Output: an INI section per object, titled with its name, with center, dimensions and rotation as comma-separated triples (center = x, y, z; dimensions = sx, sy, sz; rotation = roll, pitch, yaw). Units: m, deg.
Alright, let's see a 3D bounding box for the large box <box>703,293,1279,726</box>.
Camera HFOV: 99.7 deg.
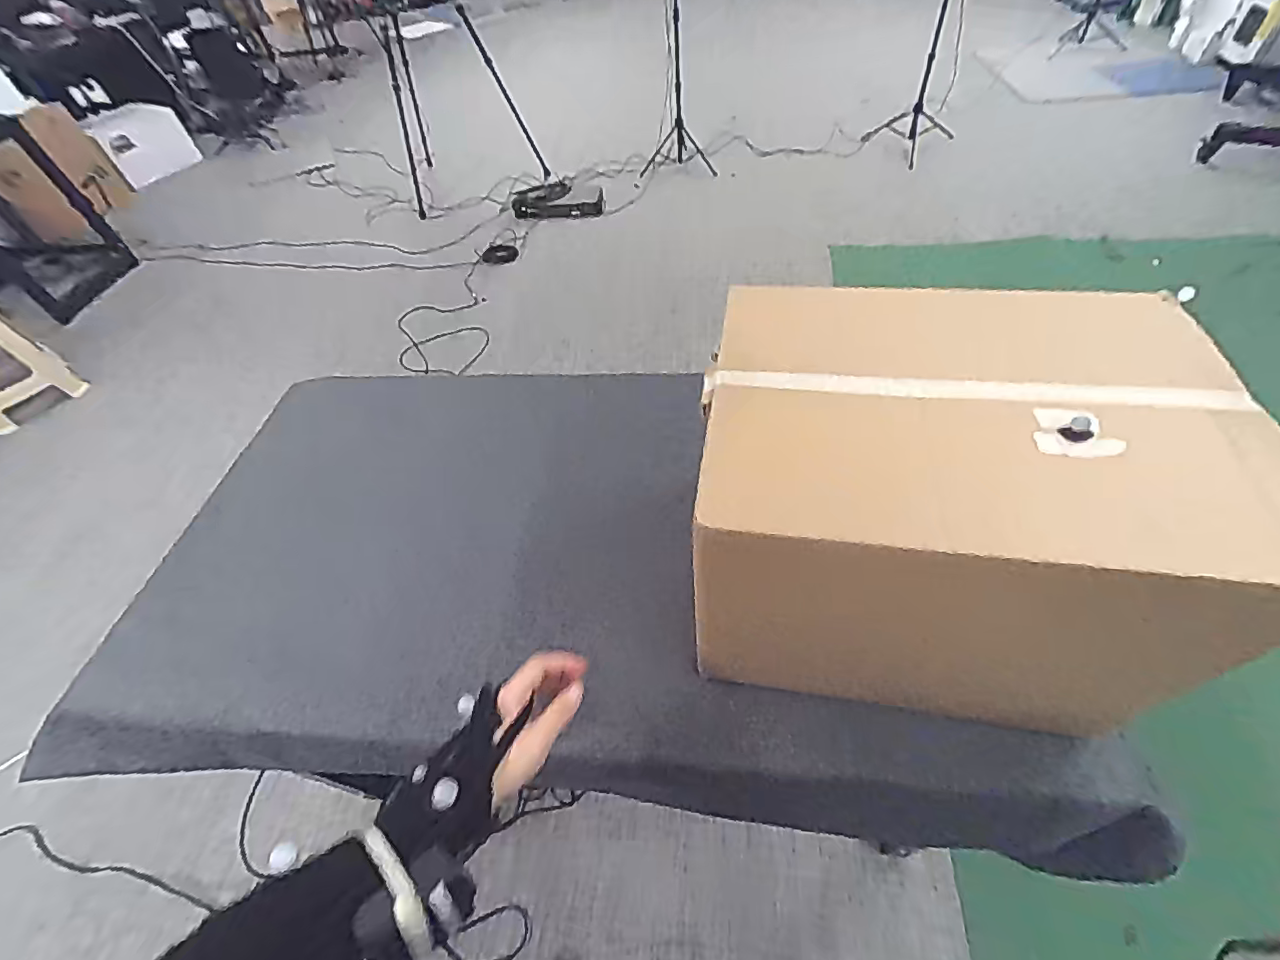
[large box]
center = 0.279, 0.028, 0.564
dimensions = 0.408, 0.320, 0.320
rotation = 6, 52, 10
